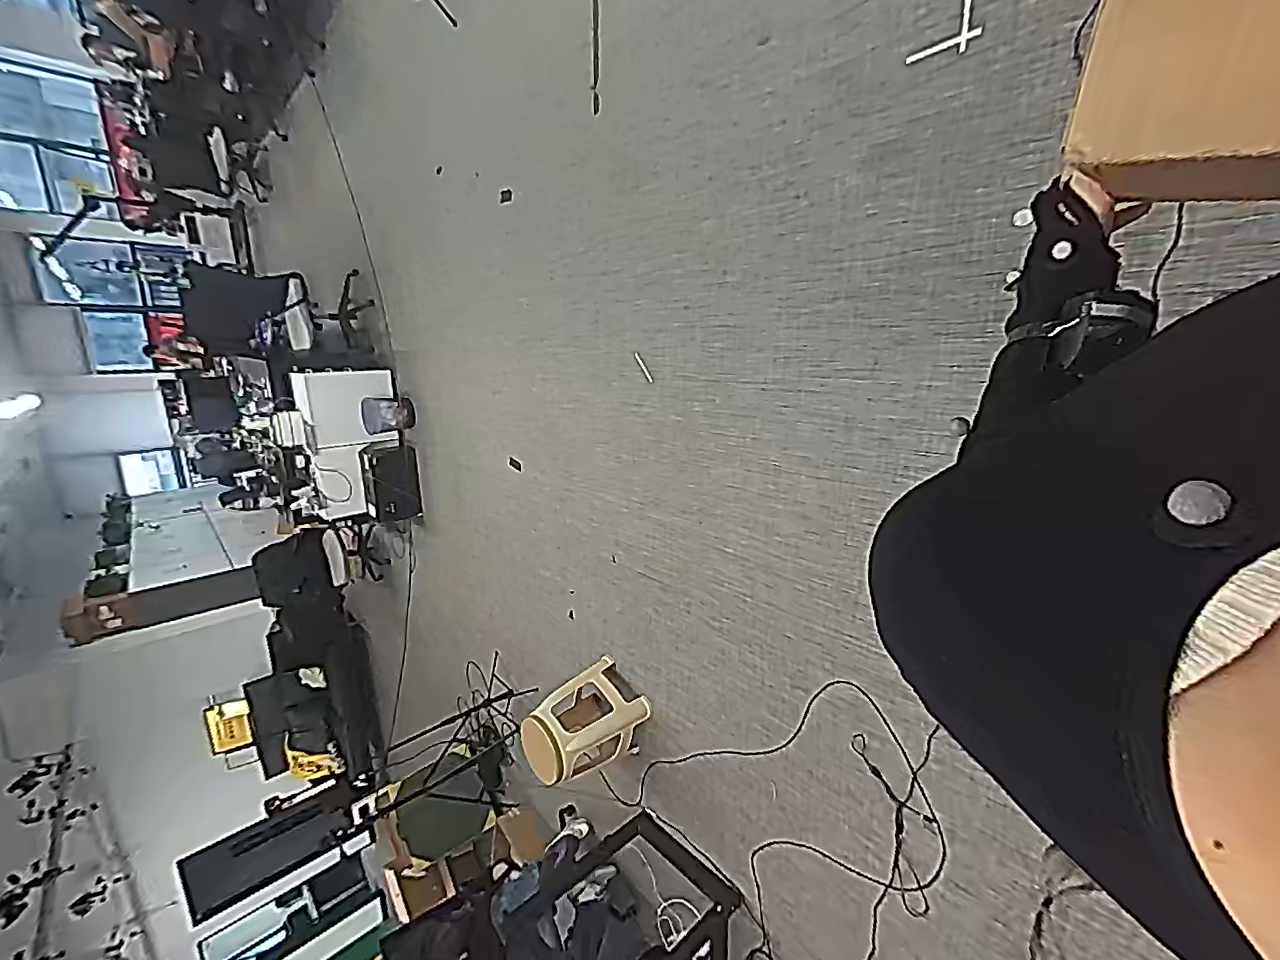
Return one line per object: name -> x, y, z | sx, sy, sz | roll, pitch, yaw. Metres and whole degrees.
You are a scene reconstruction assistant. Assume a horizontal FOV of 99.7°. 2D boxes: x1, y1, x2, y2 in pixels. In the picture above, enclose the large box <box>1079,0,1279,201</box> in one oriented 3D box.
large box -> 0.455, -0.286, 0.184 | 0.408, 0.320, 0.320 | 21, 121, 37
